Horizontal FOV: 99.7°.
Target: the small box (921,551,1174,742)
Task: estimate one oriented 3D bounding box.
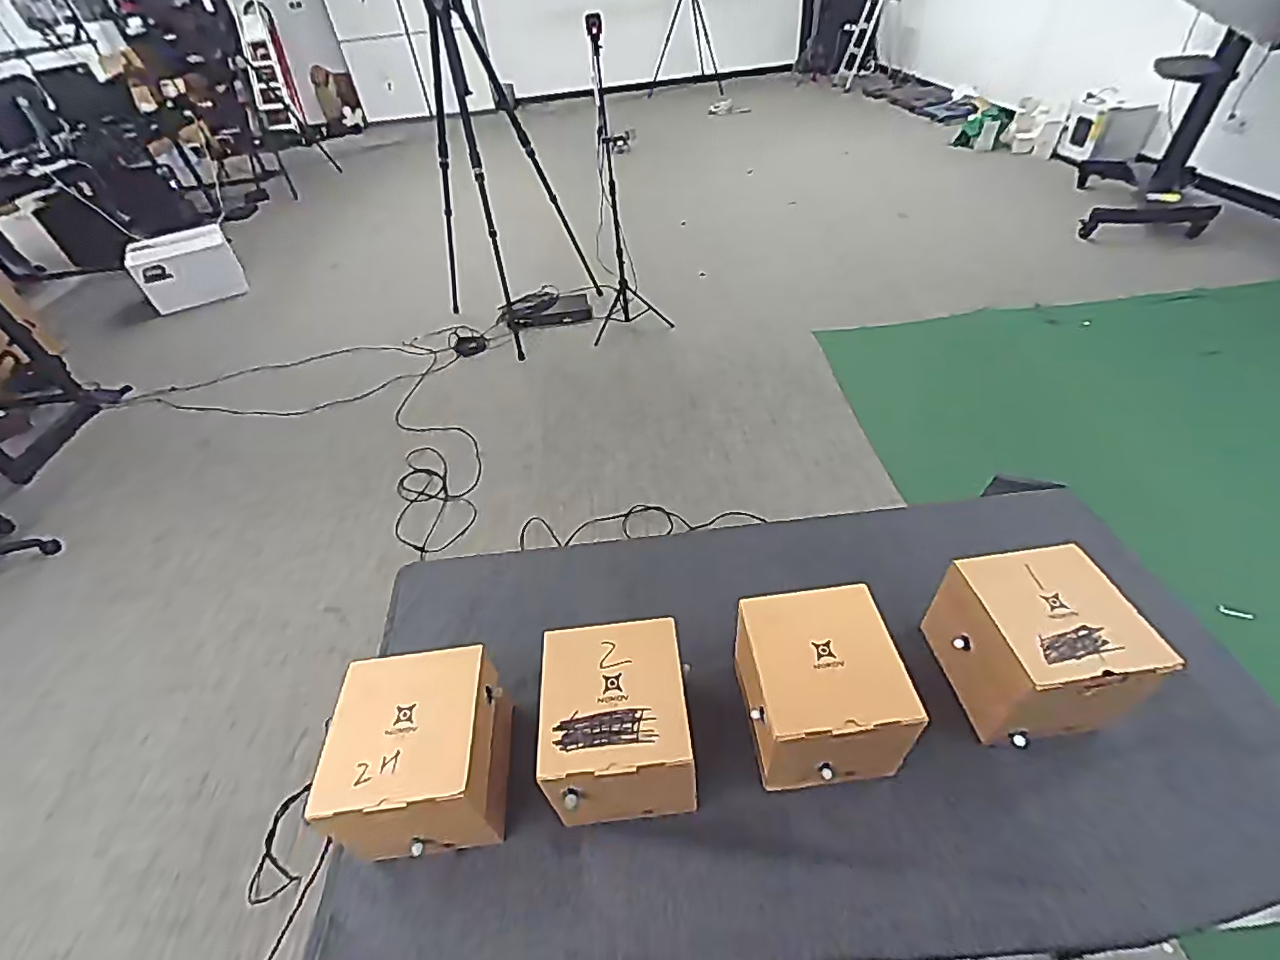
[{"bbox_3d":[0.498,0.219,0.698,0.168,0.176,0.179,-7,43,-1],"label":"small box"}]

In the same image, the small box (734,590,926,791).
[{"bbox_3d":[0.219,0.266,0.685,0.168,0.176,0.179,-7,44,-1],"label":"small box"}]

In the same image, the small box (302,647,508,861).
[{"bbox_3d":[-0.263,0.332,0.659,0.168,0.176,0.179,-7,43,-2],"label":"small box"}]
